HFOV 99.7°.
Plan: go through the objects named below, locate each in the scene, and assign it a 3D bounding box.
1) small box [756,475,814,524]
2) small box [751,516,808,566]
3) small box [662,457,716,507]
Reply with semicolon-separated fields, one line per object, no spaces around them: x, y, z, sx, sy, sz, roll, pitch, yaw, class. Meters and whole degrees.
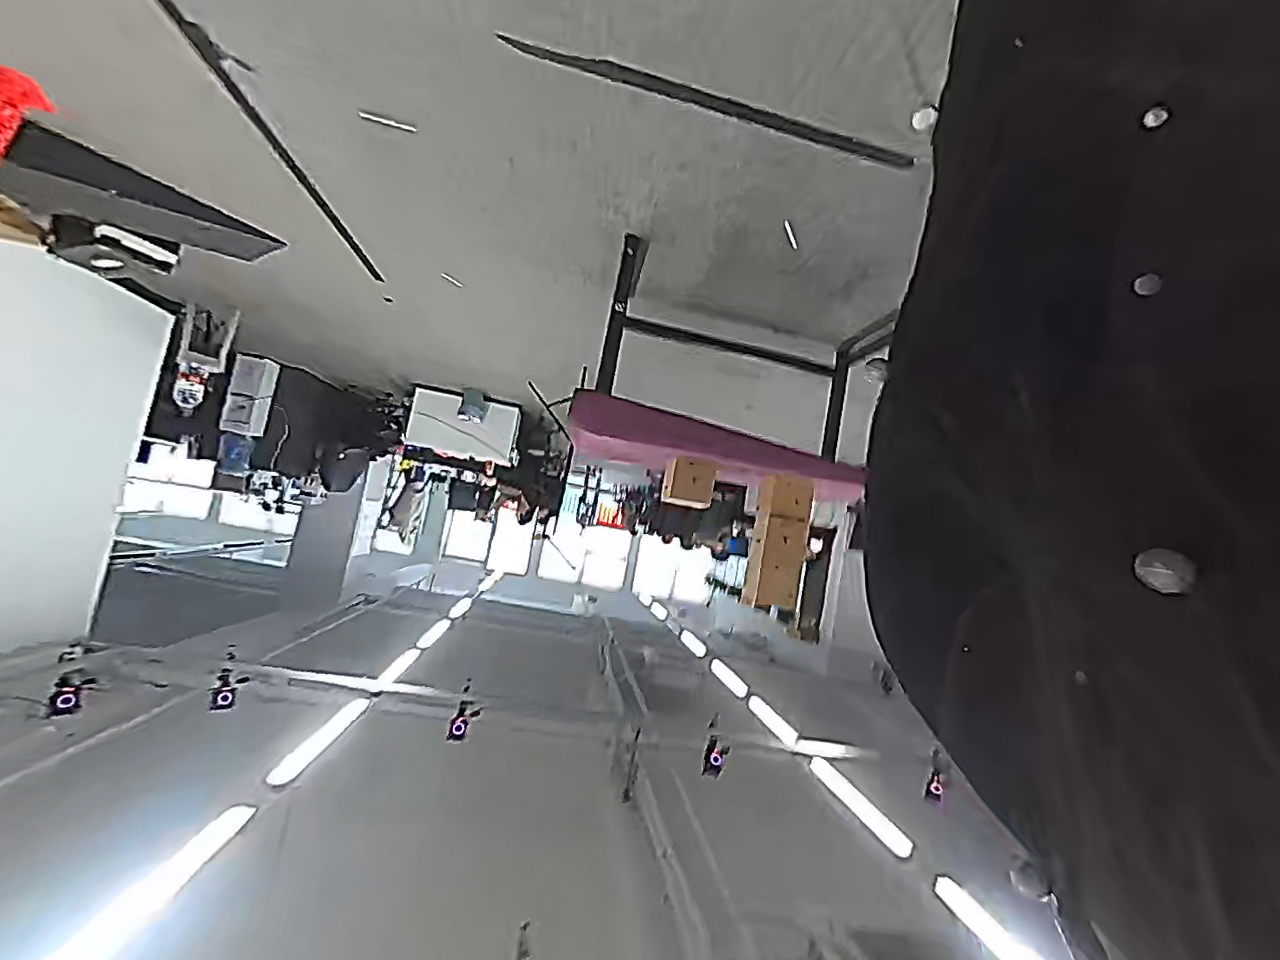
0.581;0.078;2.161;0.168;0.176;0.179;11;175;-7;small box
0.550;0.236;2.124;0.168;0.176;0.179;11;175;-3;small box
0.197;0.007;2.145;0.168;0.176;0.179;12;175;-8;small box
